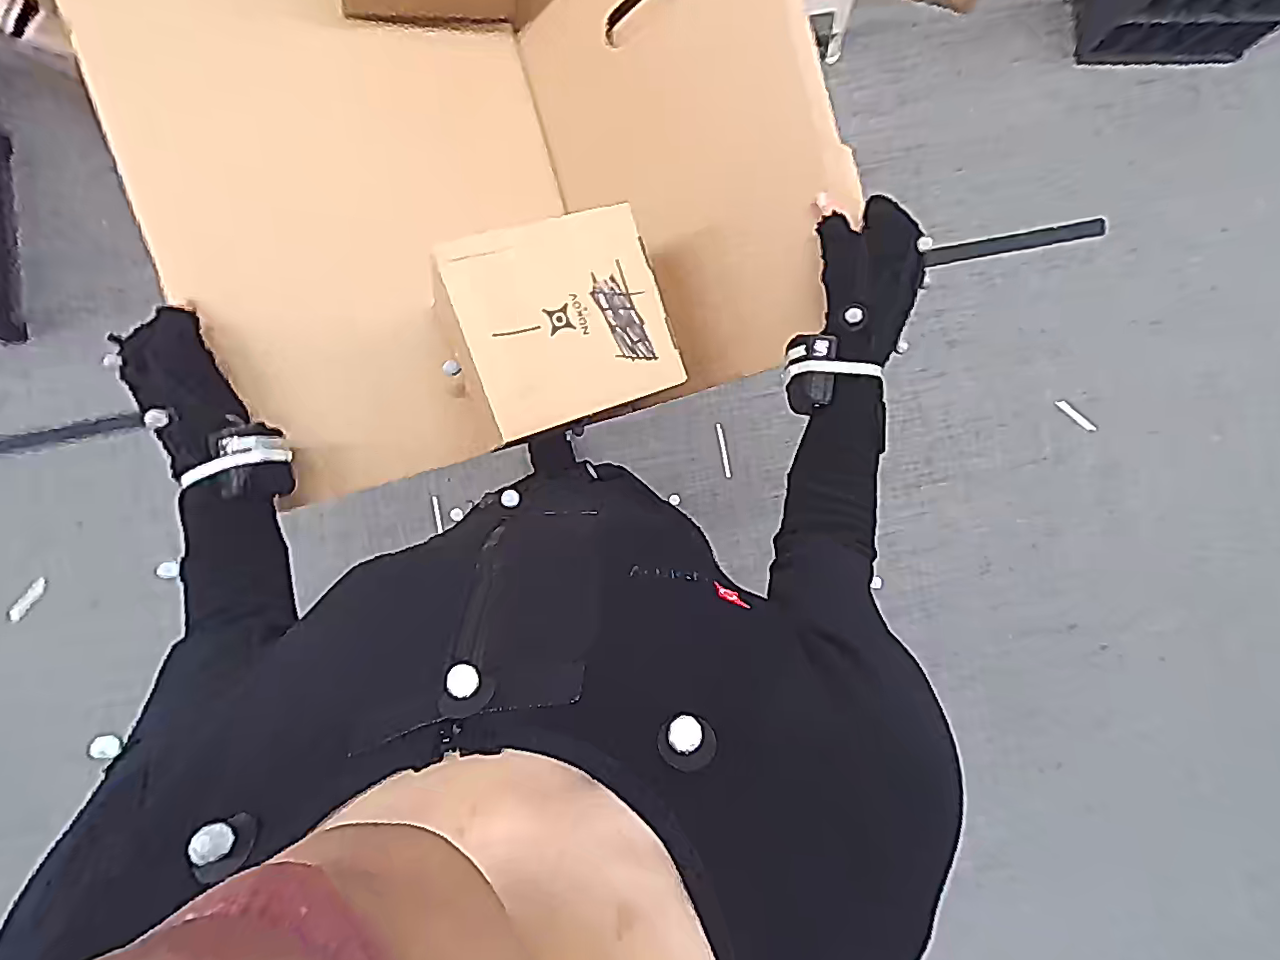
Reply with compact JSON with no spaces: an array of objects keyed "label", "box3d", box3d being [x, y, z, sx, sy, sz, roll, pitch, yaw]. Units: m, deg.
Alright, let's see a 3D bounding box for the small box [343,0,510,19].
[{"label":"small box","box3d":[-0.212,-0.567,0.490,0.179,0.176,0.168,-15,95,-20]}]
